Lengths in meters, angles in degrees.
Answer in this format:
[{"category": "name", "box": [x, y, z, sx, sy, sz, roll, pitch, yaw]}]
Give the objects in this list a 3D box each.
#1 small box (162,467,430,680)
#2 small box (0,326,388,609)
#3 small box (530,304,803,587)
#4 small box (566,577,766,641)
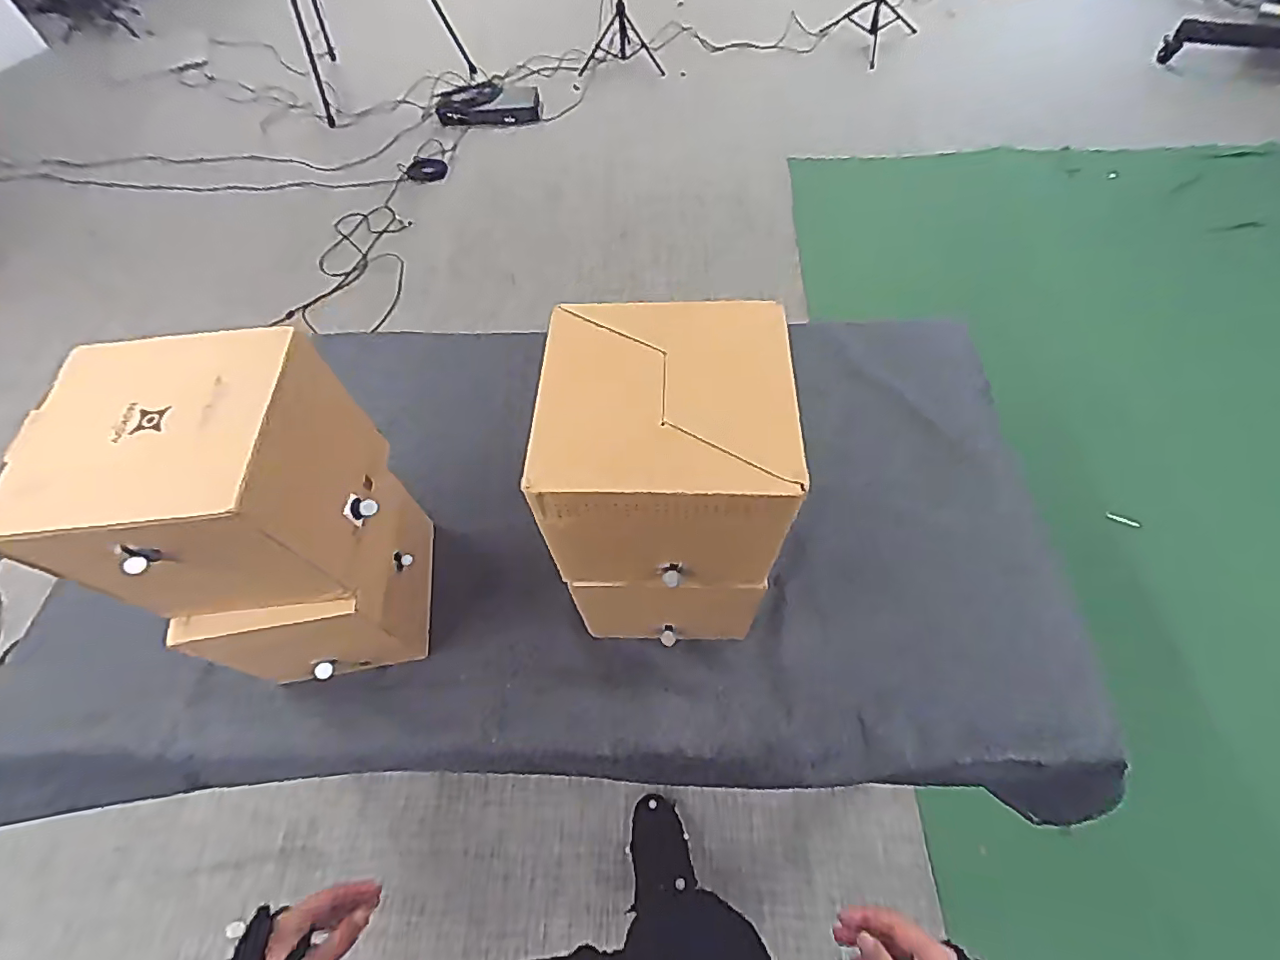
[{"category": "small box", "box": [-0.336, 0.096, 0.575, 0.168, 0.176, 0.179, -9, 59, -2]}, {"category": "small box", "box": [-0.340, -0.001, 0.444, 0.179, 0.176, 0.168, -5, 60, -1]}, {"category": "small box", "box": [0.017, -0.023, 0.432, 0.179, 0.176, 0.168, 1, 59, 4]}, {"category": "small box", "box": [0.027, 0.067, 0.575, 0.179, 0.176, 0.168, 0, 59, 3]}]
